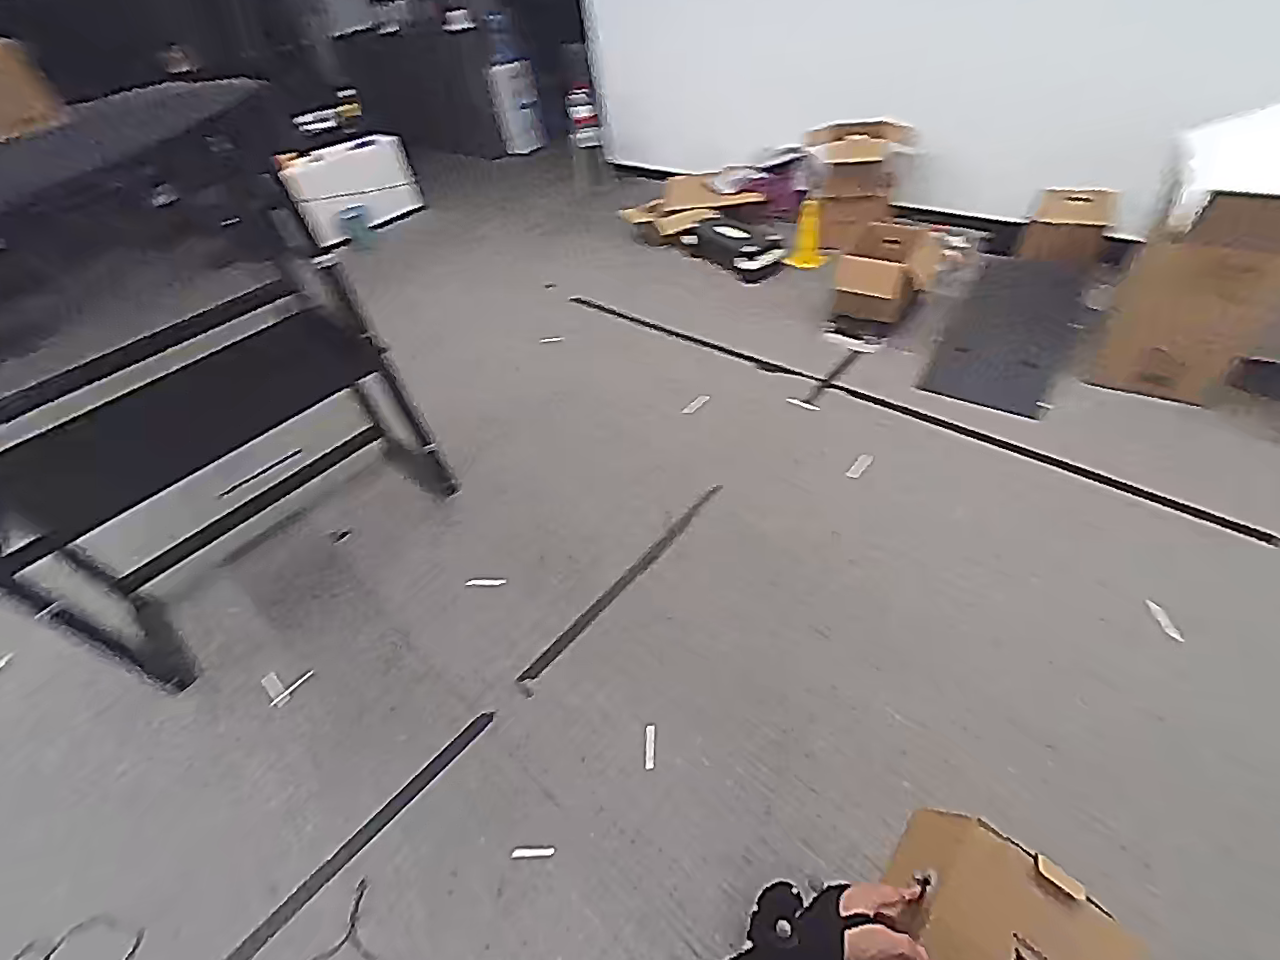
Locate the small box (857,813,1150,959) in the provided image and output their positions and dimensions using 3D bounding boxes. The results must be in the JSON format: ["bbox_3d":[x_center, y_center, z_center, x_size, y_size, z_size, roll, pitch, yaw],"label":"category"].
[{"bbox_3d":[0.353,0.477,0.558,0.168,0.176,0.179,34,68,20],"label":"small box"}]

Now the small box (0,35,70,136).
[{"bbox_3d":[-1.545,-0.947,1.301,0.179,0.176,0.168,29,57,32],"label":"small box"}]
